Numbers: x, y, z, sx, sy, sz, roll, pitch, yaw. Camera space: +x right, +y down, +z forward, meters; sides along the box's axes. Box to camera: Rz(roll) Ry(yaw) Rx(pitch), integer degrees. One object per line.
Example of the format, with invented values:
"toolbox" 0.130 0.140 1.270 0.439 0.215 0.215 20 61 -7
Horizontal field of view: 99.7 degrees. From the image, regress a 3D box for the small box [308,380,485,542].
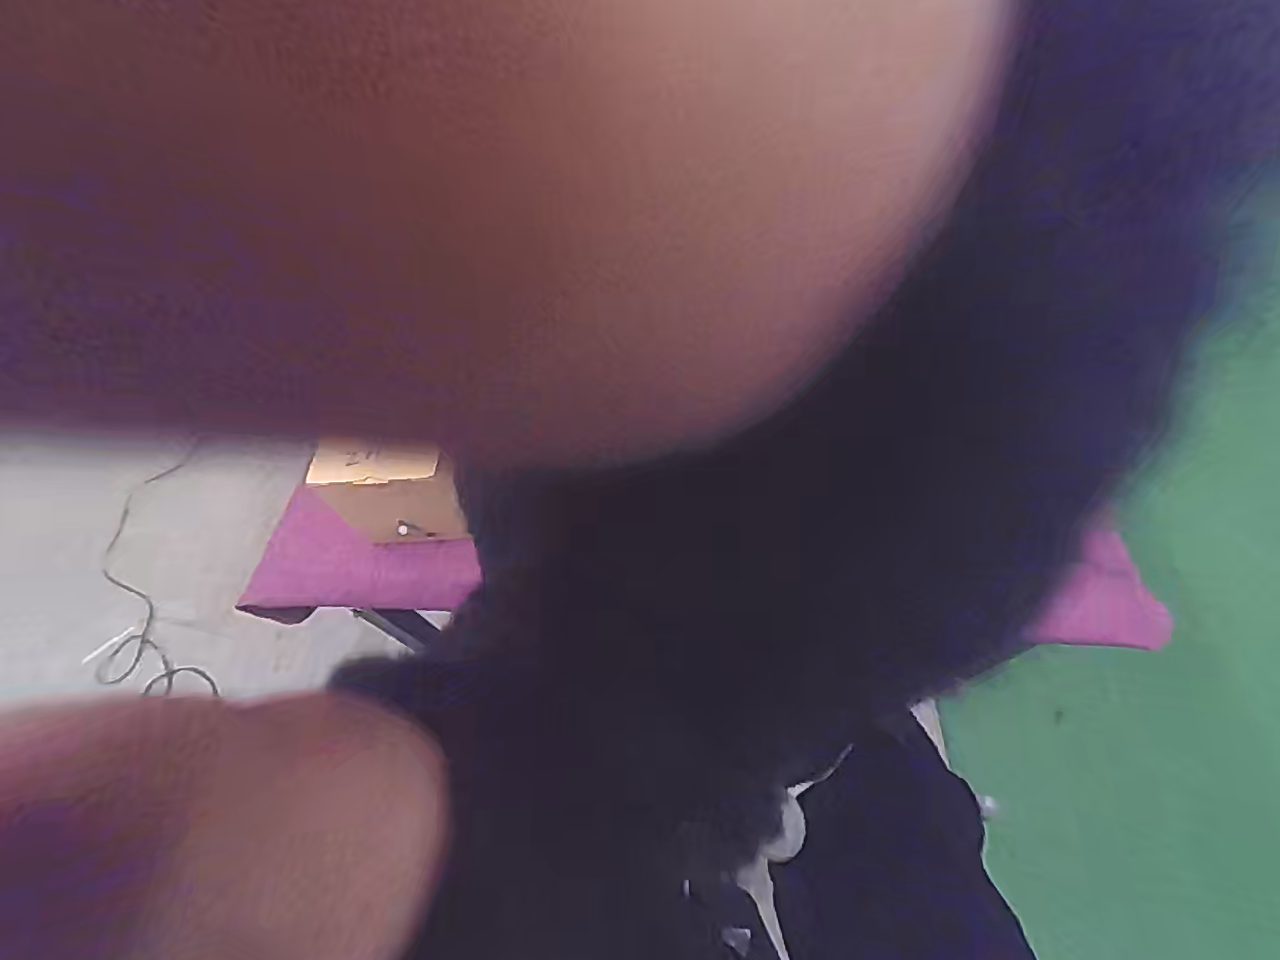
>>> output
"small box" -0.334 -0.025 0.786 0.168 0.176 0.179 -2 57 1
